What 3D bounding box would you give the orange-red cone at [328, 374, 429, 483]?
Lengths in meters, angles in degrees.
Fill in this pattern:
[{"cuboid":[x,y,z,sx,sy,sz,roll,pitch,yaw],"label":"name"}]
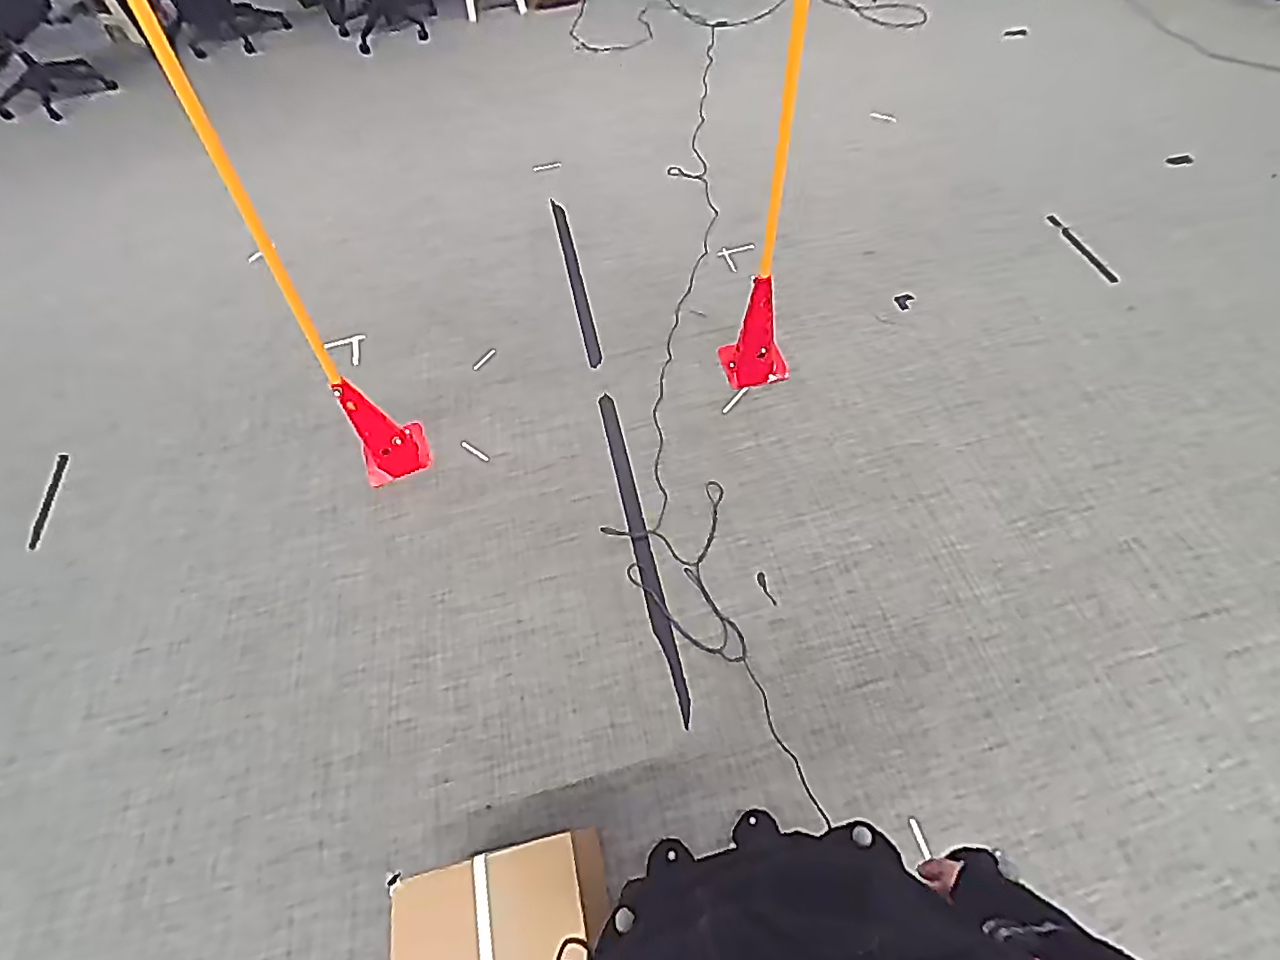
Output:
[{"cuboid":[-0.799,-0.179,1.590,0.199,0.360,0.198,-22,59,-7],"label":"orange-red cone"}]
